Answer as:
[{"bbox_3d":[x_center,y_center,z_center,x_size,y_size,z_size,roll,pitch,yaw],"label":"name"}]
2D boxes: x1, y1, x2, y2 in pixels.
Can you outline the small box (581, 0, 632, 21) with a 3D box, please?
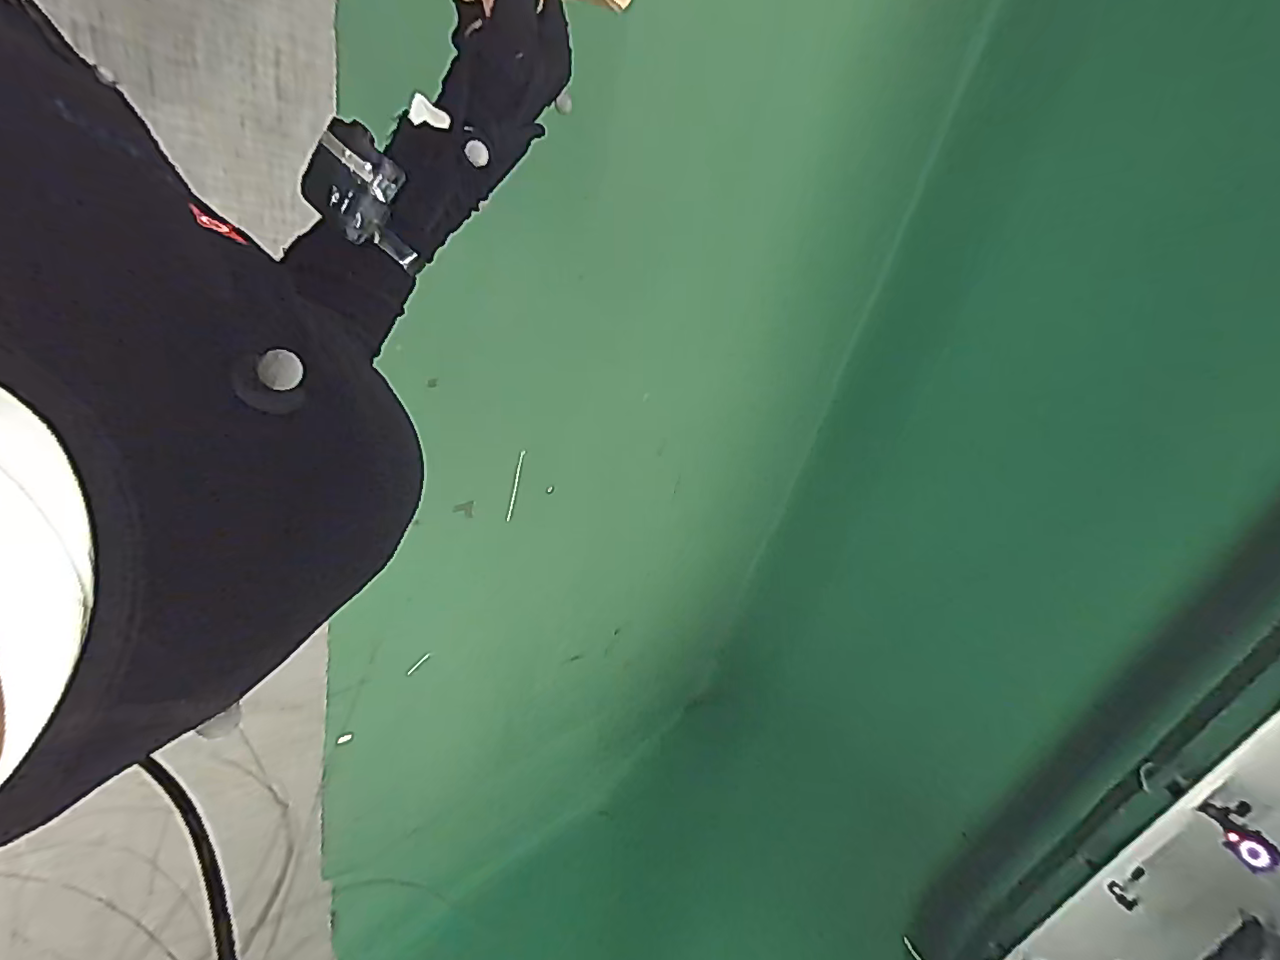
[{"bbox_3d":[-0.073,-0.455,0.344,0.168,0.176,0.179,-3,132,-48],"label":"small box"}]
